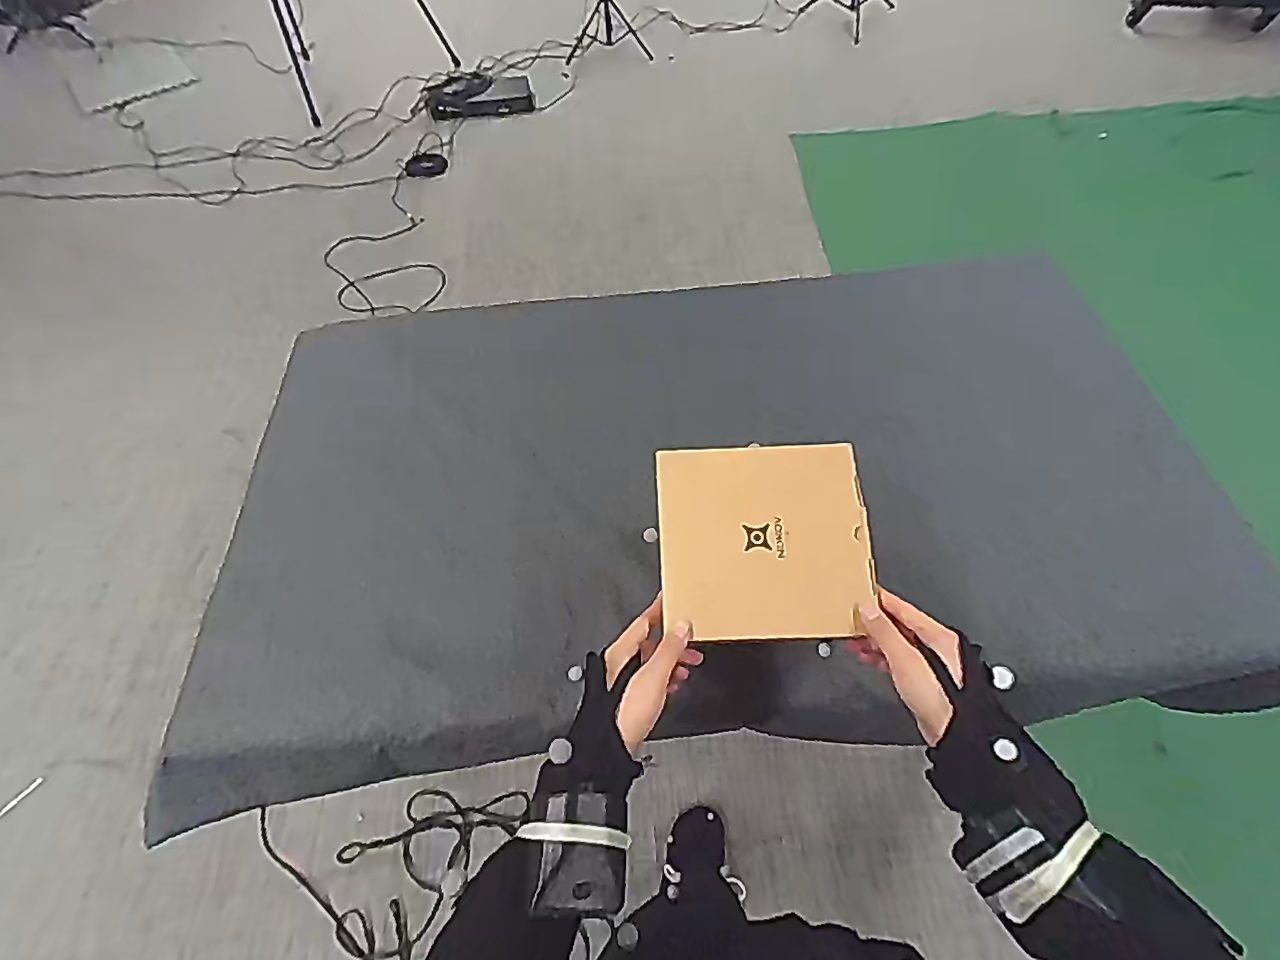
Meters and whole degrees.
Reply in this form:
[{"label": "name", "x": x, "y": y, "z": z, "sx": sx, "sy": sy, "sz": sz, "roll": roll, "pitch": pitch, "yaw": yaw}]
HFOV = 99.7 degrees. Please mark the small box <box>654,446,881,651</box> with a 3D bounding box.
[{"label": "small box", "x": 0.106, "y": 0.076, "z": 0.530, "sx": 0.179, "sy": 0.176, "sz": 0.168, "roll": -2, "pitch": 71, "yaw": 1}]
